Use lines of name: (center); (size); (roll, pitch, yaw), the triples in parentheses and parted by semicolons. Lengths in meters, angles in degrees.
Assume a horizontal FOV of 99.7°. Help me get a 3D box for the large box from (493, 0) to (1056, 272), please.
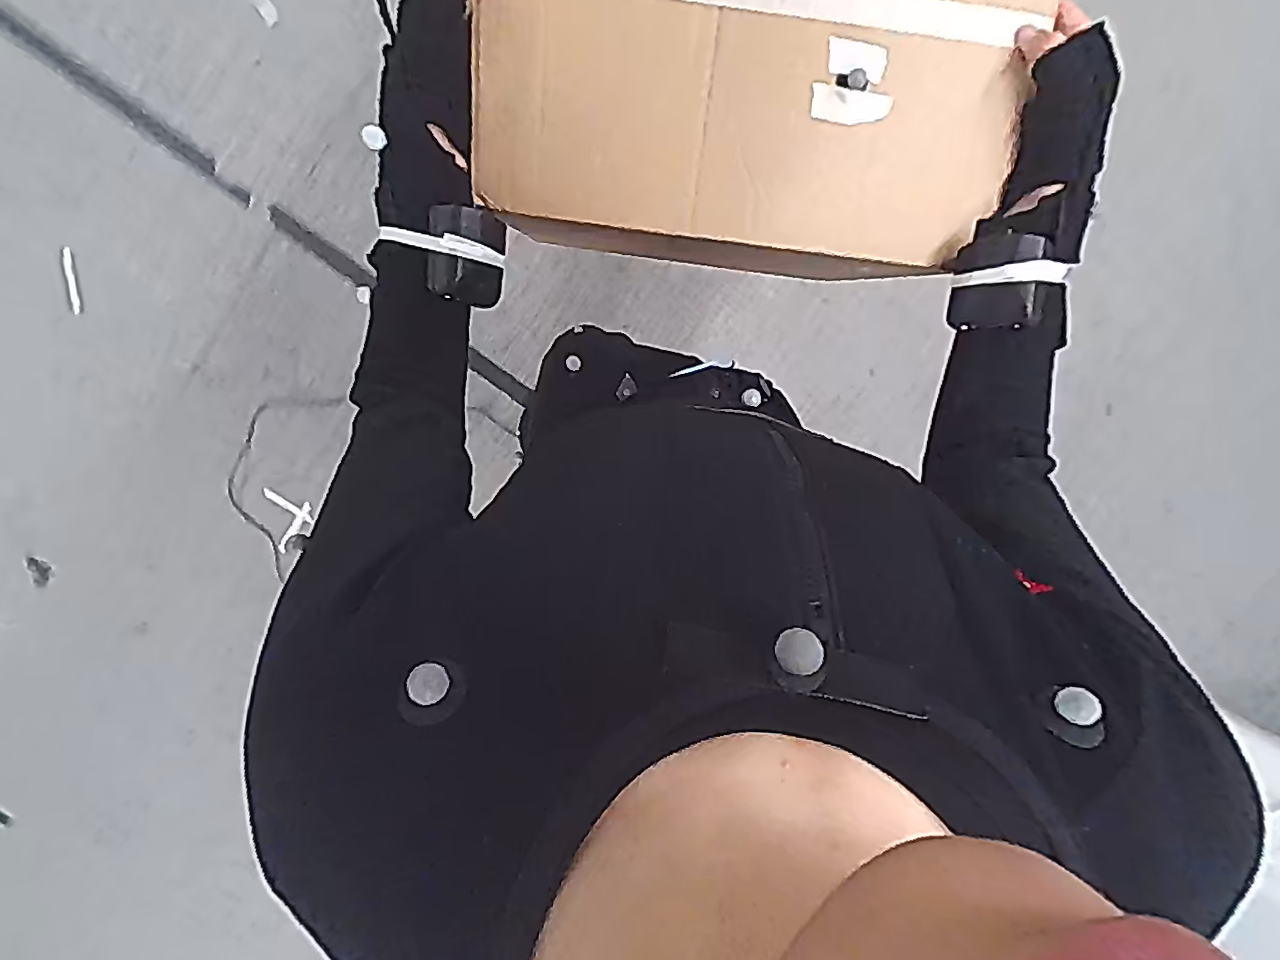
large box: (0.090, -0.391, 0.522); (0.408, 0.320, 0.320); (6, 110, -6)
